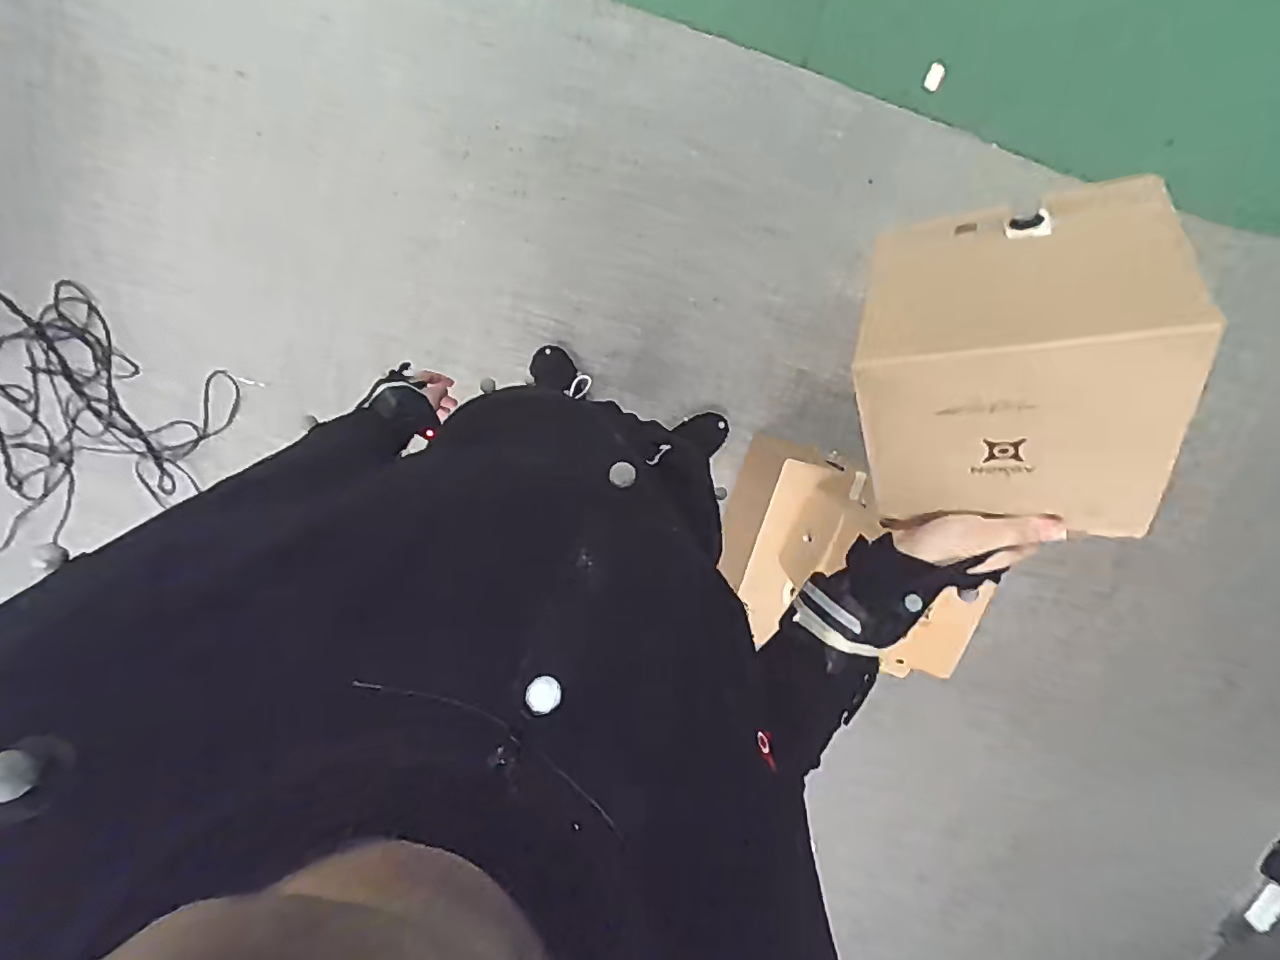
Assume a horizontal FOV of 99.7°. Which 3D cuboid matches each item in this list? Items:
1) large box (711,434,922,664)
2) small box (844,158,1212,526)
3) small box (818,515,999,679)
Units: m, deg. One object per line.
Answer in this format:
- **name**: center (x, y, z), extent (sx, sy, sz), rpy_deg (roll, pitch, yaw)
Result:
- **large box**: center (0.383, 0.142, 1.261), extent (0.320, 0.320, 0.408), rpy_deg (15, 105, -3)
- **small box**: center (0.254, -0.086, 0.388), extent (0.168, 0.176, 0.179), rpy_deg (-2, 139, 32)
- **small box**: center (0.403, 0.172, 0.849), extent (0.168, 0.176, 0.179), rpy_deg (16, 104, -5)
